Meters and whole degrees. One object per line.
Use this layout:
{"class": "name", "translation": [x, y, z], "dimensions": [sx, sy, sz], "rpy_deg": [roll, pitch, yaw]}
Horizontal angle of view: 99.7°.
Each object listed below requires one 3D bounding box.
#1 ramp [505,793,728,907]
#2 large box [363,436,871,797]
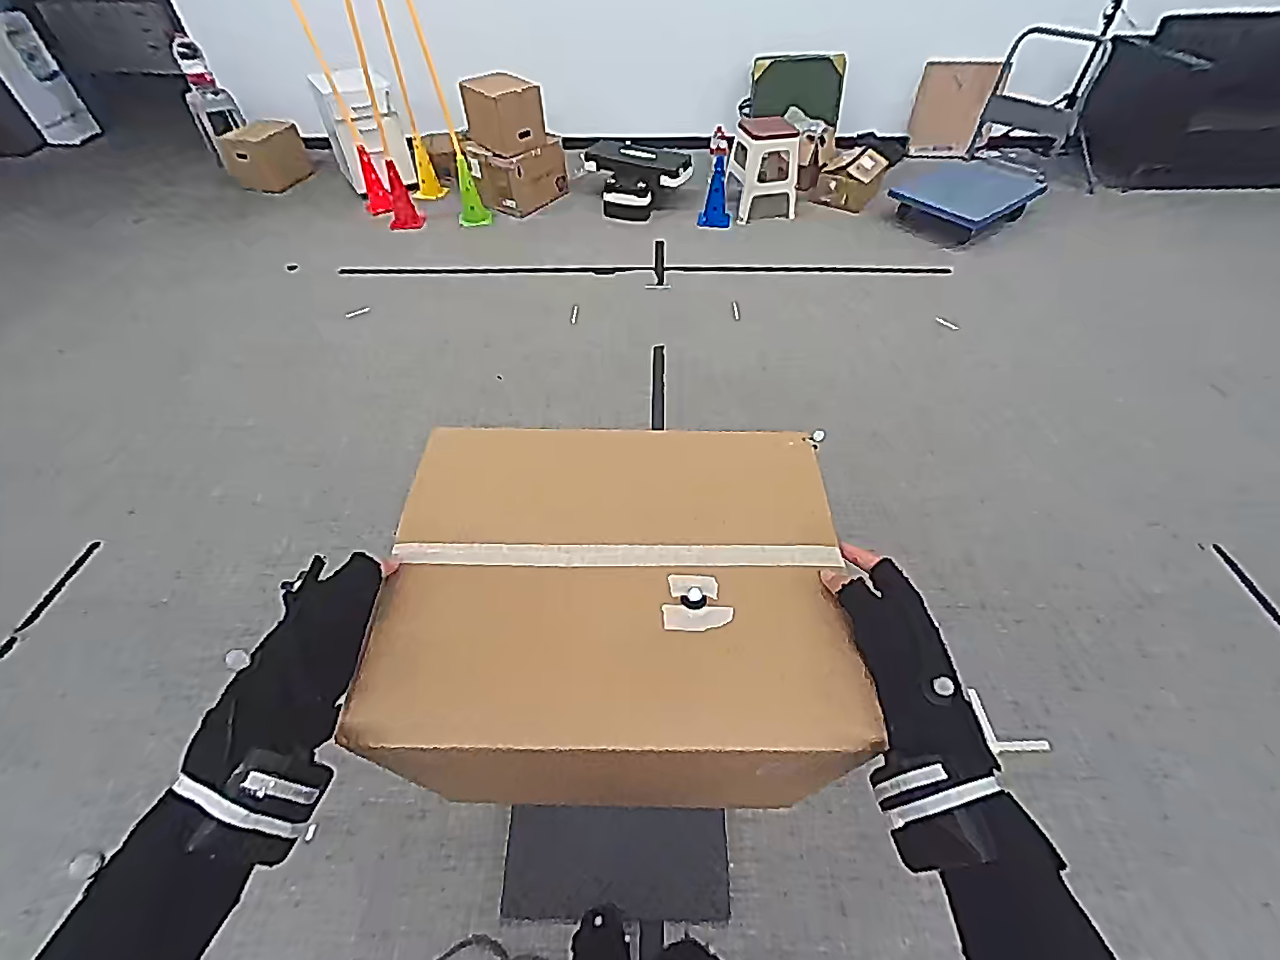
{"class": "ramp", "translation": [-0.044, 0.490, 1.417], "dimensions": [0.509, 0.206, 0.991], "rpy_deg": [0, 49, -1]}
{"class": "large box", "translation": [-0.020, 0.165, 0.623], "dimensions": [0.408, 0.320, 0.320], "rpy_deg": [1, 53, -1]}
